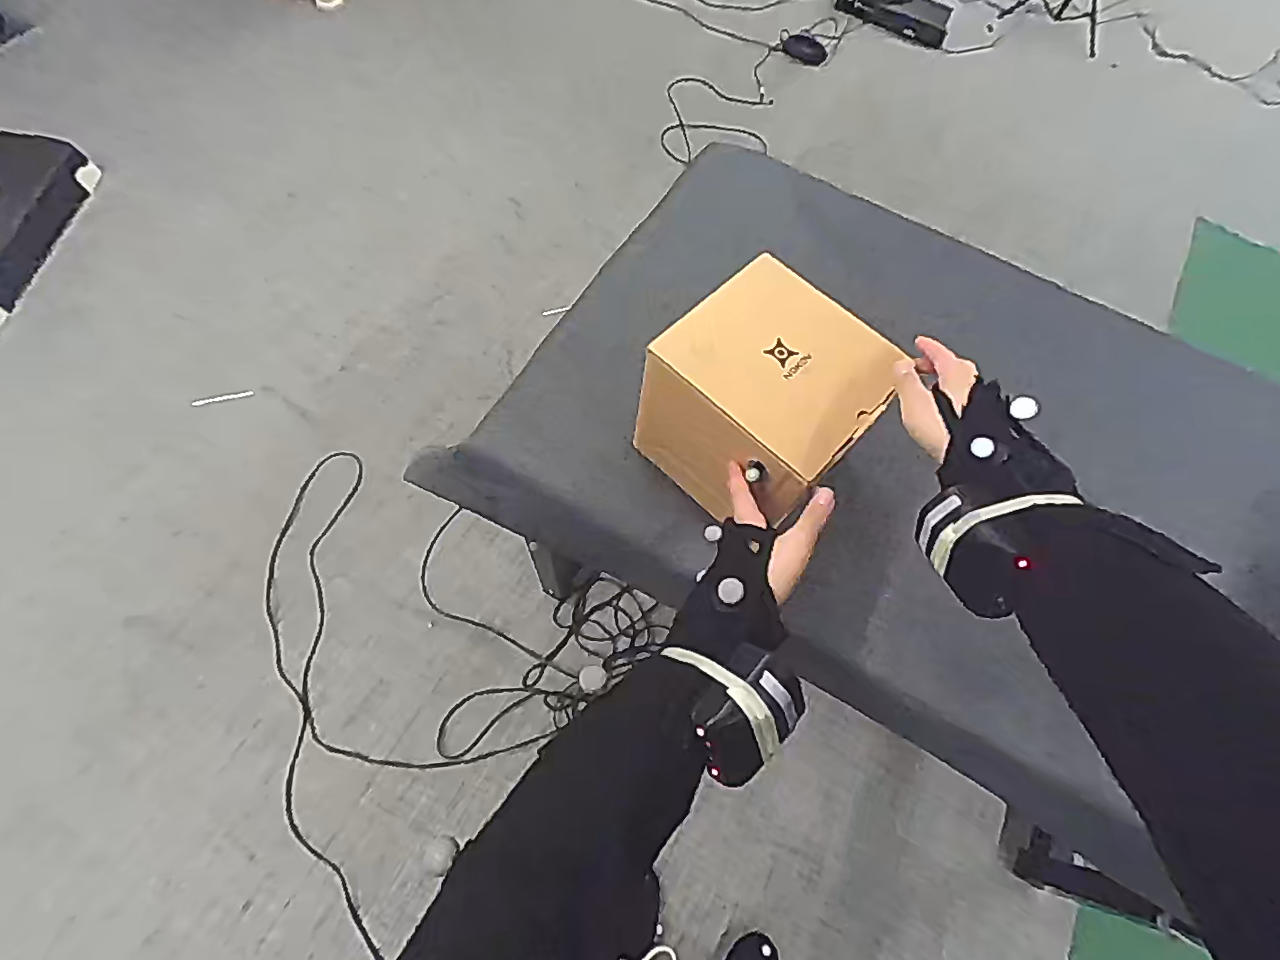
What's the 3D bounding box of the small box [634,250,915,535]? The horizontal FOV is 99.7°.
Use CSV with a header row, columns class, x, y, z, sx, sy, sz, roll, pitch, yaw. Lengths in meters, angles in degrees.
class,x,y,z,sx,sy,sz,roll,pitch,yaw
small box,0.111,-0.075,0.525,0.168,0.176,0.179,-41,76,-21
